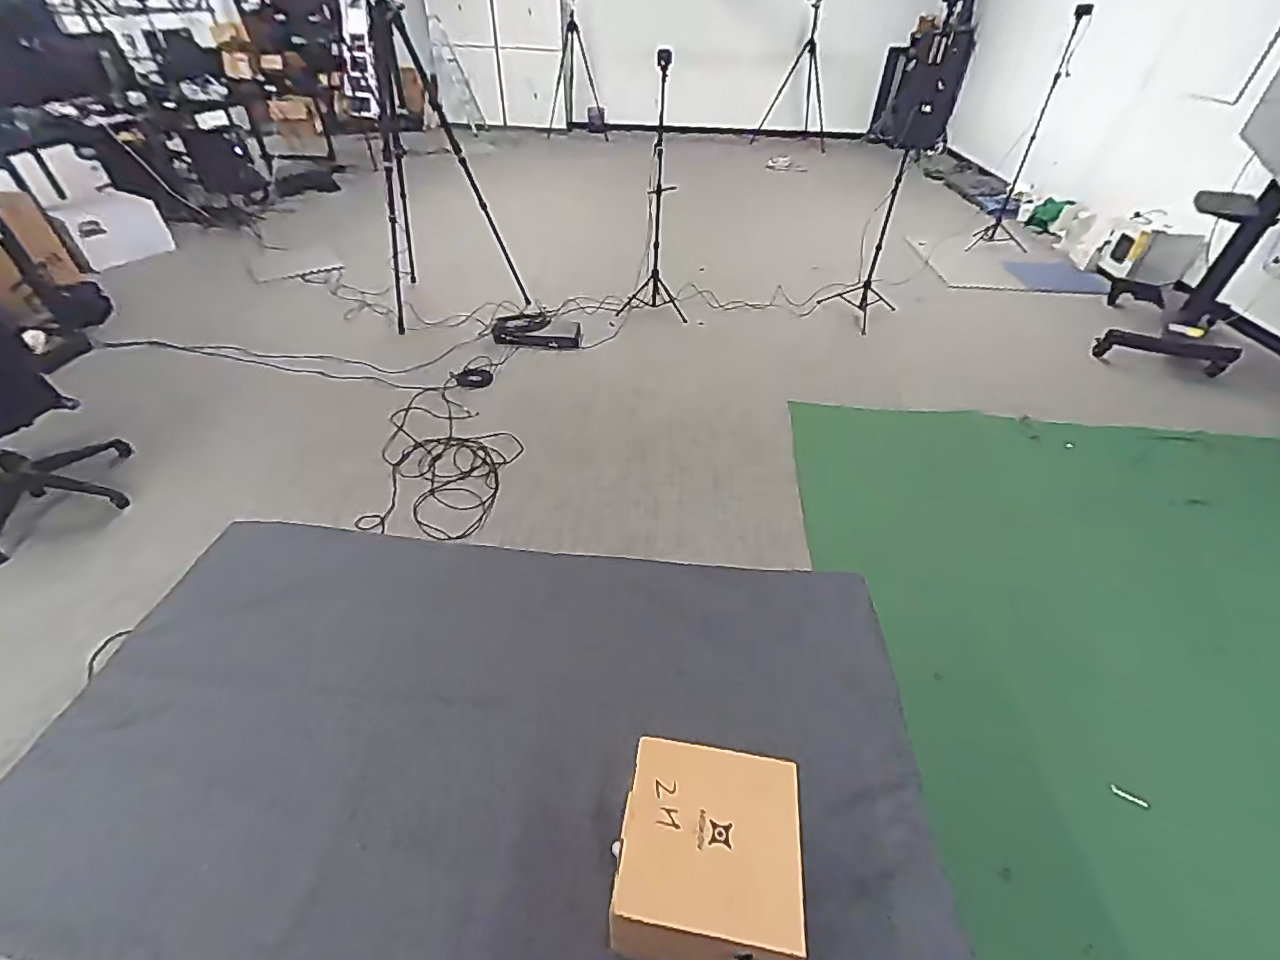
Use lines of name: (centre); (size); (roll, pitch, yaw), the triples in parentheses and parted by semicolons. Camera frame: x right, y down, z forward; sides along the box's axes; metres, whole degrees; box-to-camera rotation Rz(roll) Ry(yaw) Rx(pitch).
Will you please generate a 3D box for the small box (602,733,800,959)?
small box: (0.064, 0.404, 0.582); (0.179, 0.176, 0.168); (7, 40, 7)
